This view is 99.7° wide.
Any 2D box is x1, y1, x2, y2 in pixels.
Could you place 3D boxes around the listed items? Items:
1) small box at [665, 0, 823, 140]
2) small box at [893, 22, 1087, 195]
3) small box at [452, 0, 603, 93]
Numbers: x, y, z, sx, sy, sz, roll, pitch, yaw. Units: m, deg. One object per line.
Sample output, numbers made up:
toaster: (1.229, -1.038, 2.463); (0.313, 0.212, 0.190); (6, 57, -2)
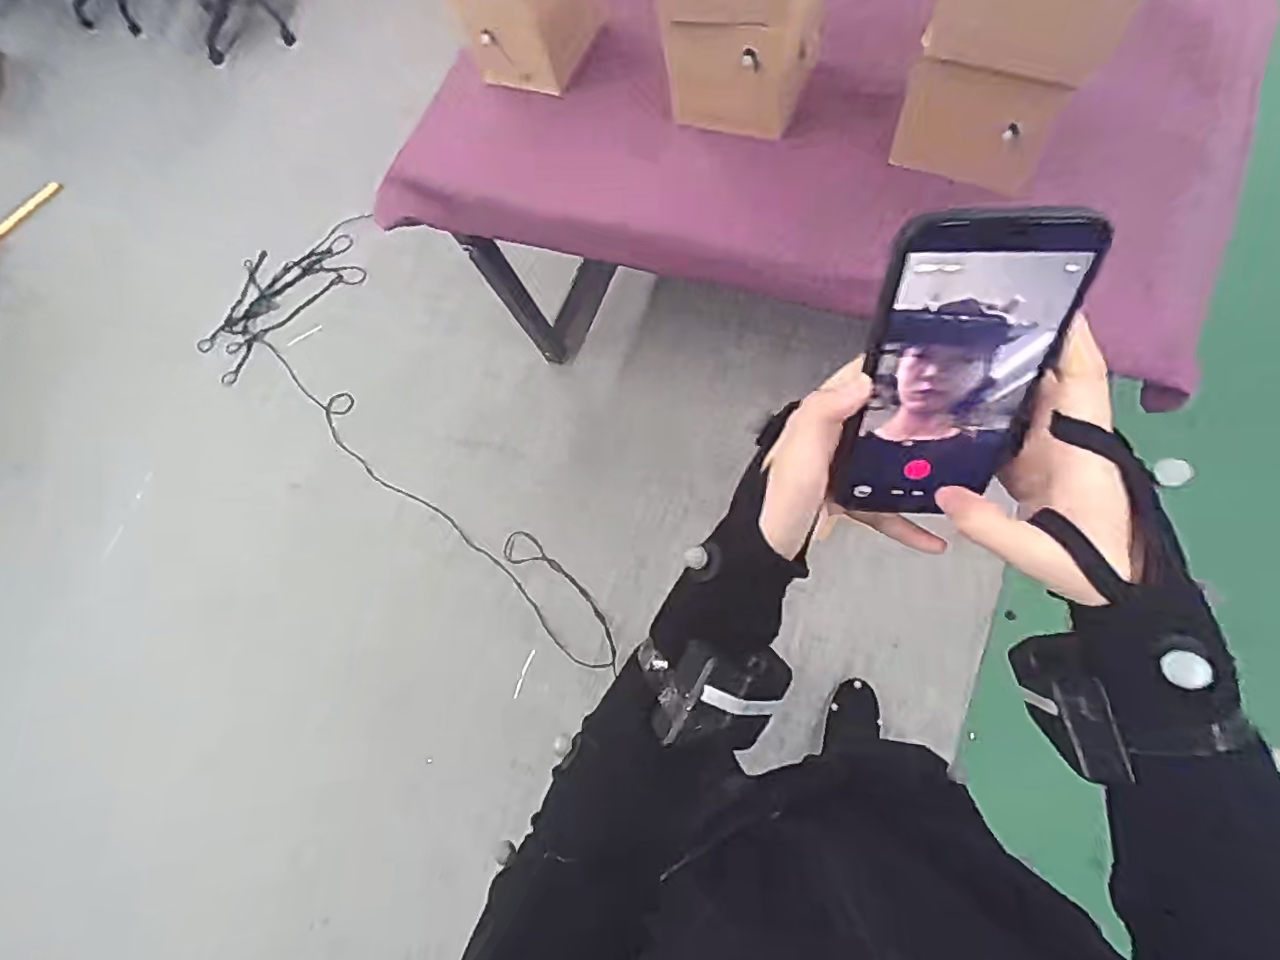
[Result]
small box: (0.158, -0.634, 0.784); (0.179, 0.176, 0.168); (22, 80, 17)
small box: (0.454, -0.499, 0.684); (0.179, 0.176, 0.168); (28, 81, 18)
small box: (-0.179, -0.793, 0.902); (0.168, 0.176, 0.179); (23, 80, 17)
